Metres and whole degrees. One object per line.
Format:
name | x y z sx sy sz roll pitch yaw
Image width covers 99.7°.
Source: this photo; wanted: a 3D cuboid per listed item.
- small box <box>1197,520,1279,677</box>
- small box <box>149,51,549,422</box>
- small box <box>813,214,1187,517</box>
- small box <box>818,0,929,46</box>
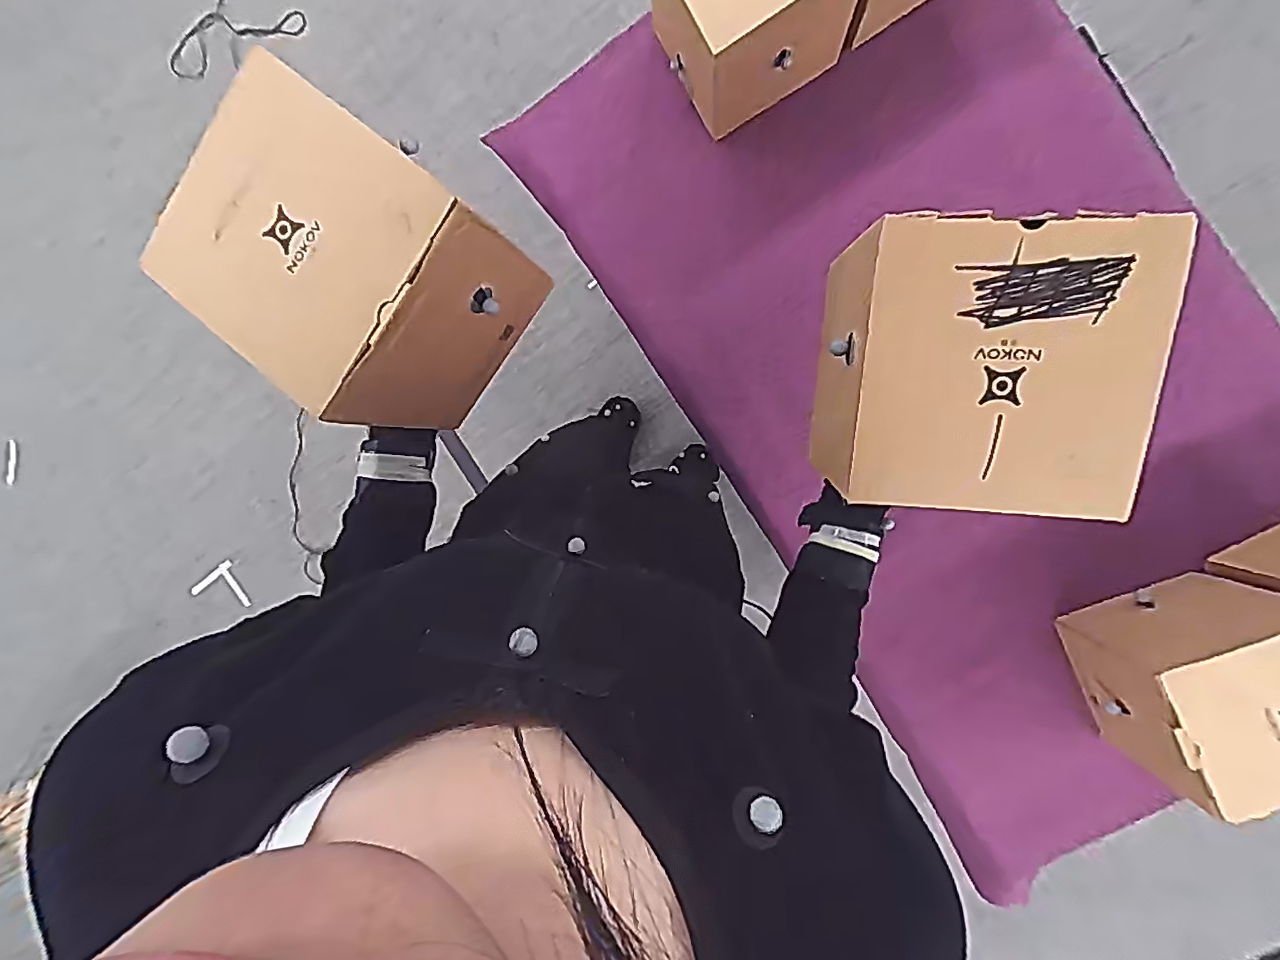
small box | 0.788 0.128 0.581 0.179 0.176 0.168 -30 91 8
small box | -0.200 -0.159 0.420 0.179 0.176 0.168 38 98 7
small box | 0.233 -0.083 0.406 0.168 0.176 0.179 4 103 8
small box | 0.283 -0.638 0.581 0.179 0.176 0.168 -30 90 9
